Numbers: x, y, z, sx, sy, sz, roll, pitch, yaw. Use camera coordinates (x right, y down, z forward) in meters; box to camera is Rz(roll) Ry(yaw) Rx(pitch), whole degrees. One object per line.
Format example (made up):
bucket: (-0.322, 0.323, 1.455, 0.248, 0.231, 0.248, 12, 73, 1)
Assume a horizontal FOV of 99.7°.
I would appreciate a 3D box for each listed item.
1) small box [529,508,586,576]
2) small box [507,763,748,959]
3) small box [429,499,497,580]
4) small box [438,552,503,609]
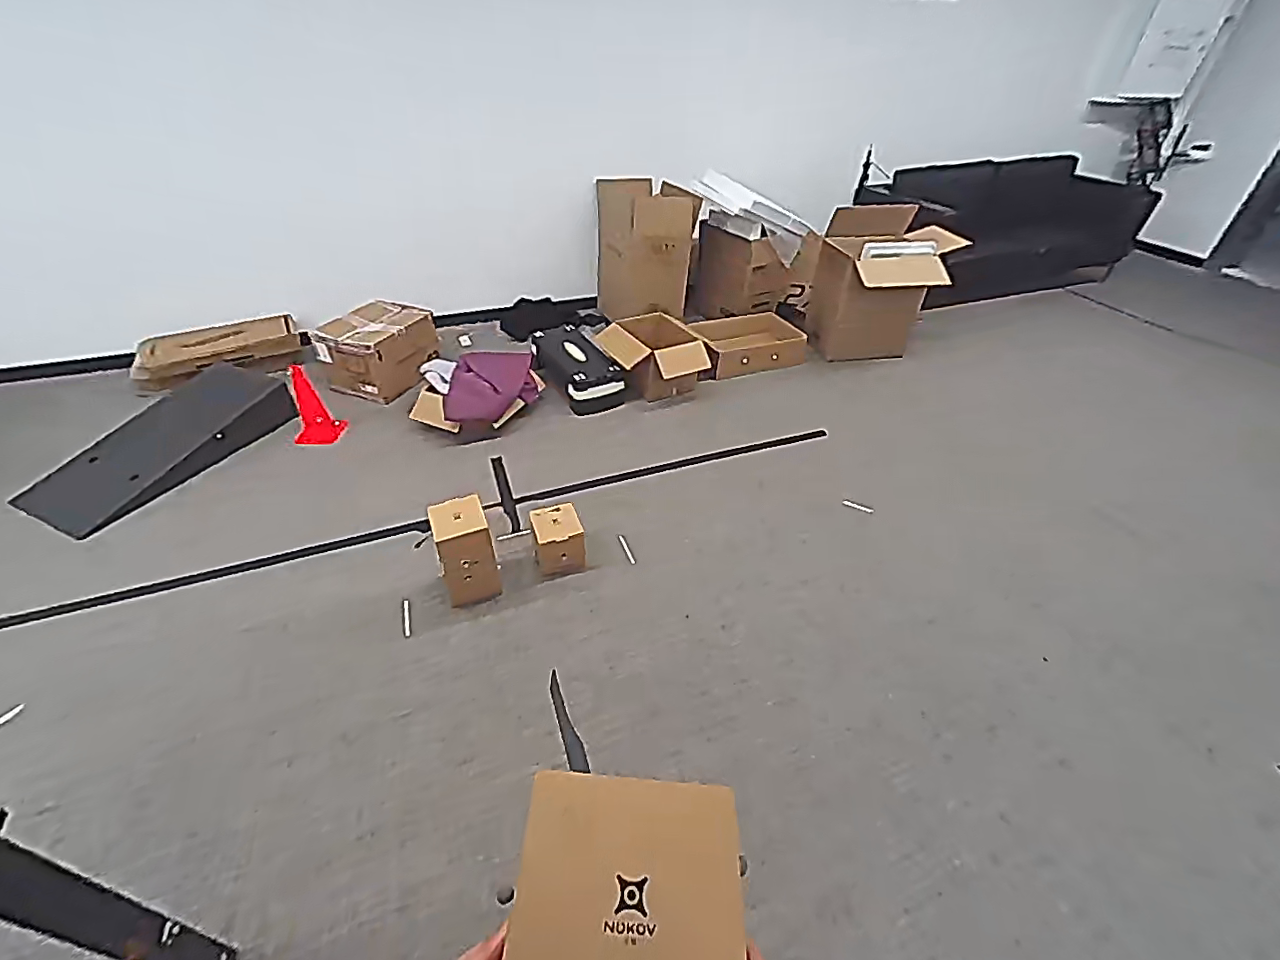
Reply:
small box: (-0.303, 0.234, 1.999, 0.168, 0.176, 0.179, -13, 41, -17)
small box: (-0.015, 0.360, 0.438, 0.168, 0.176, 0.179, 6, 41, -3)
small box: (-0.580, 0.197, 1.776, 0.168, 0.176, 0.179, -17, 44, -19)
small box: (-0.587, 0.322, 1.879, 0.179, 0.176, 0.168, -14, 41, -19)
